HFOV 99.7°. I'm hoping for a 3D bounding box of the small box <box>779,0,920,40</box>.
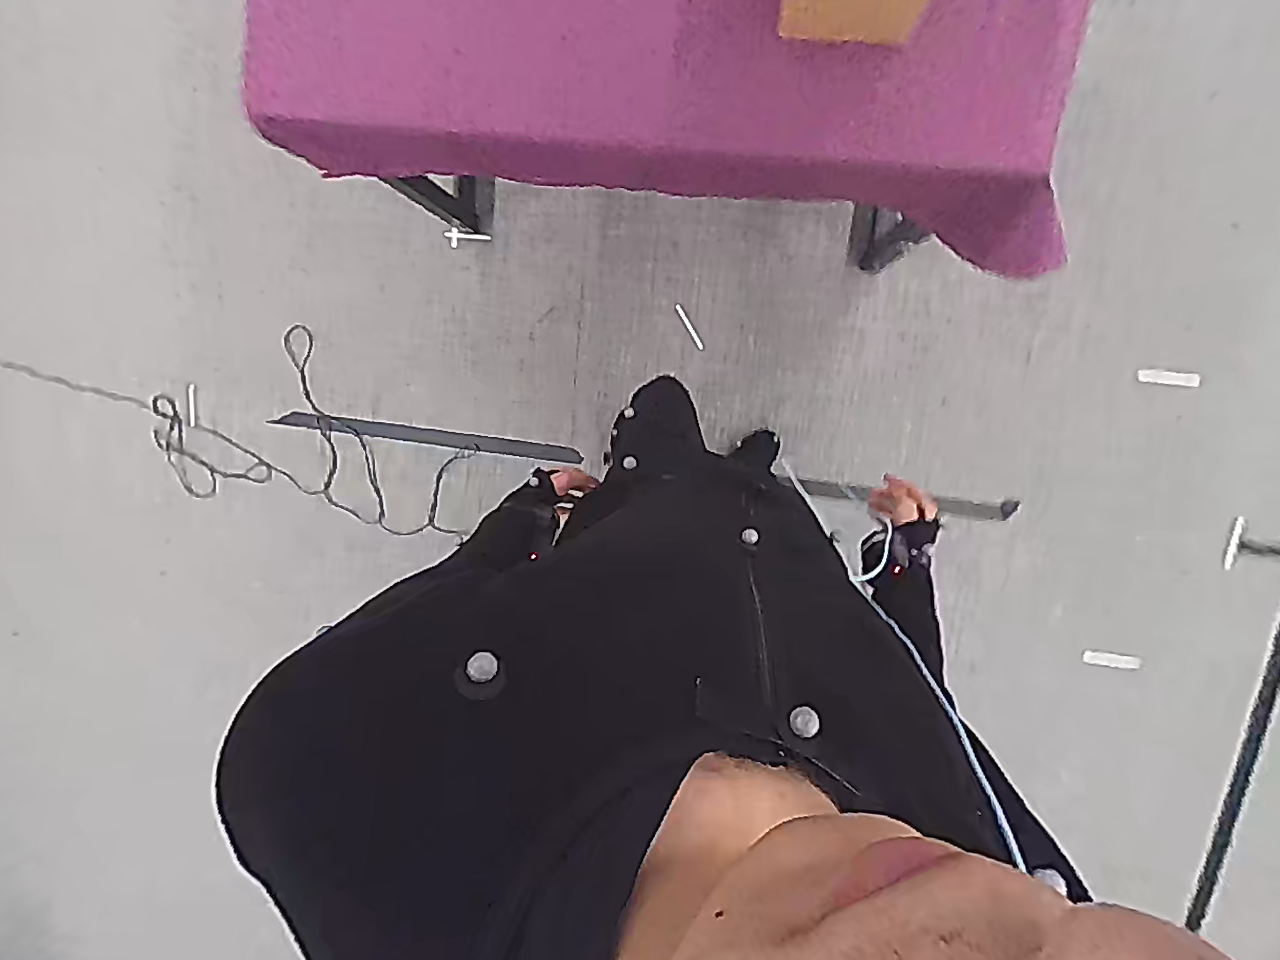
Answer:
[{"bbox_3d":[0.274,-0.681,0.661,0.179,0.176,0.168,6,100,5],"label":"small box"}]
